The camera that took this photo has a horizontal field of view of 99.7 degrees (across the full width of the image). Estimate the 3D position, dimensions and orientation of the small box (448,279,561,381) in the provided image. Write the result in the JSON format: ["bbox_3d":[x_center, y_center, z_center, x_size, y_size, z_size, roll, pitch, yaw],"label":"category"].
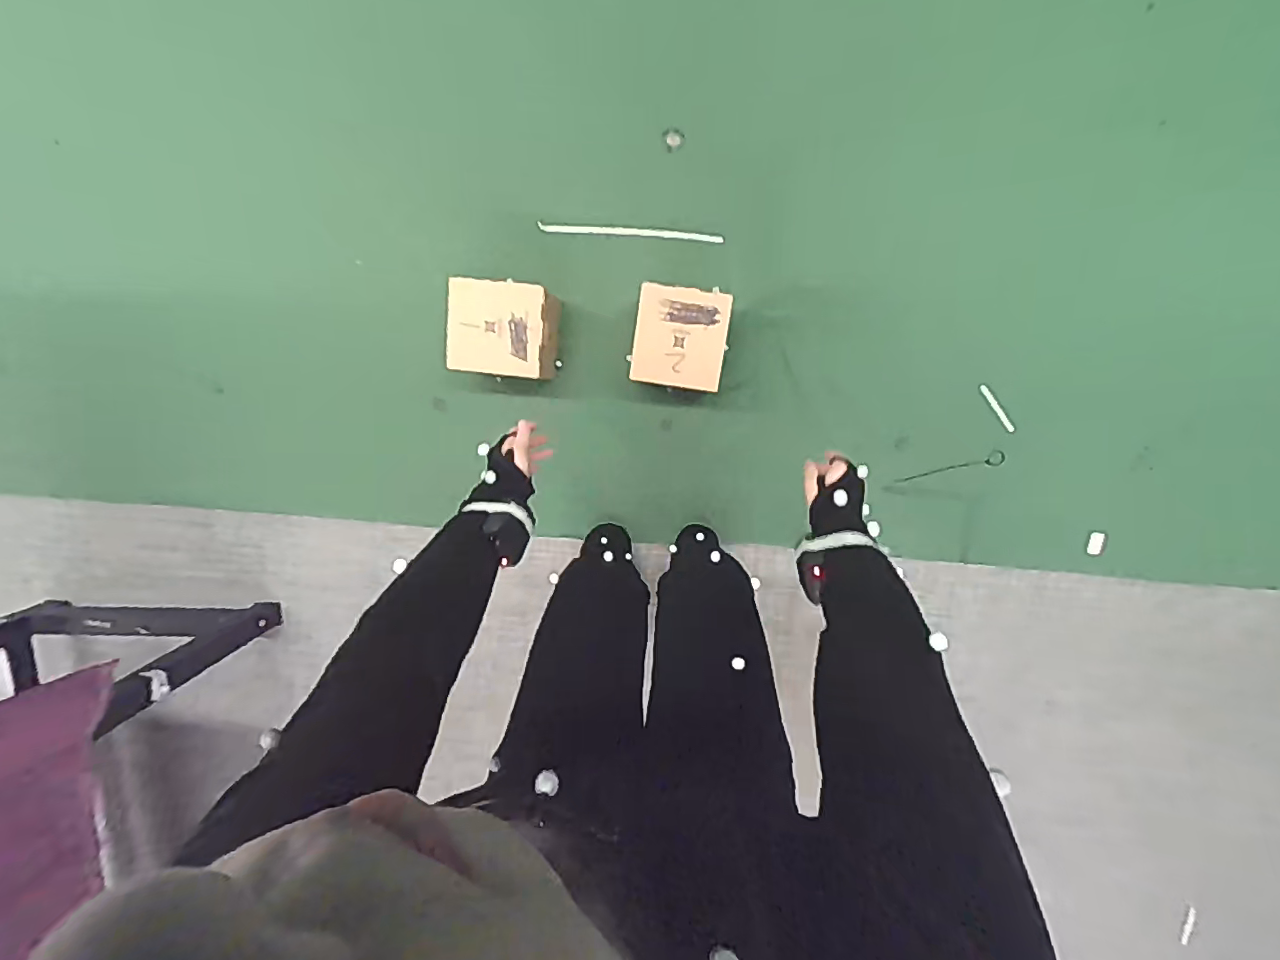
[{"bbox_3d":[-0.260,-0.289,1.070,0.179,0.176,0.168,7,100,3],"label":"small box"}]
